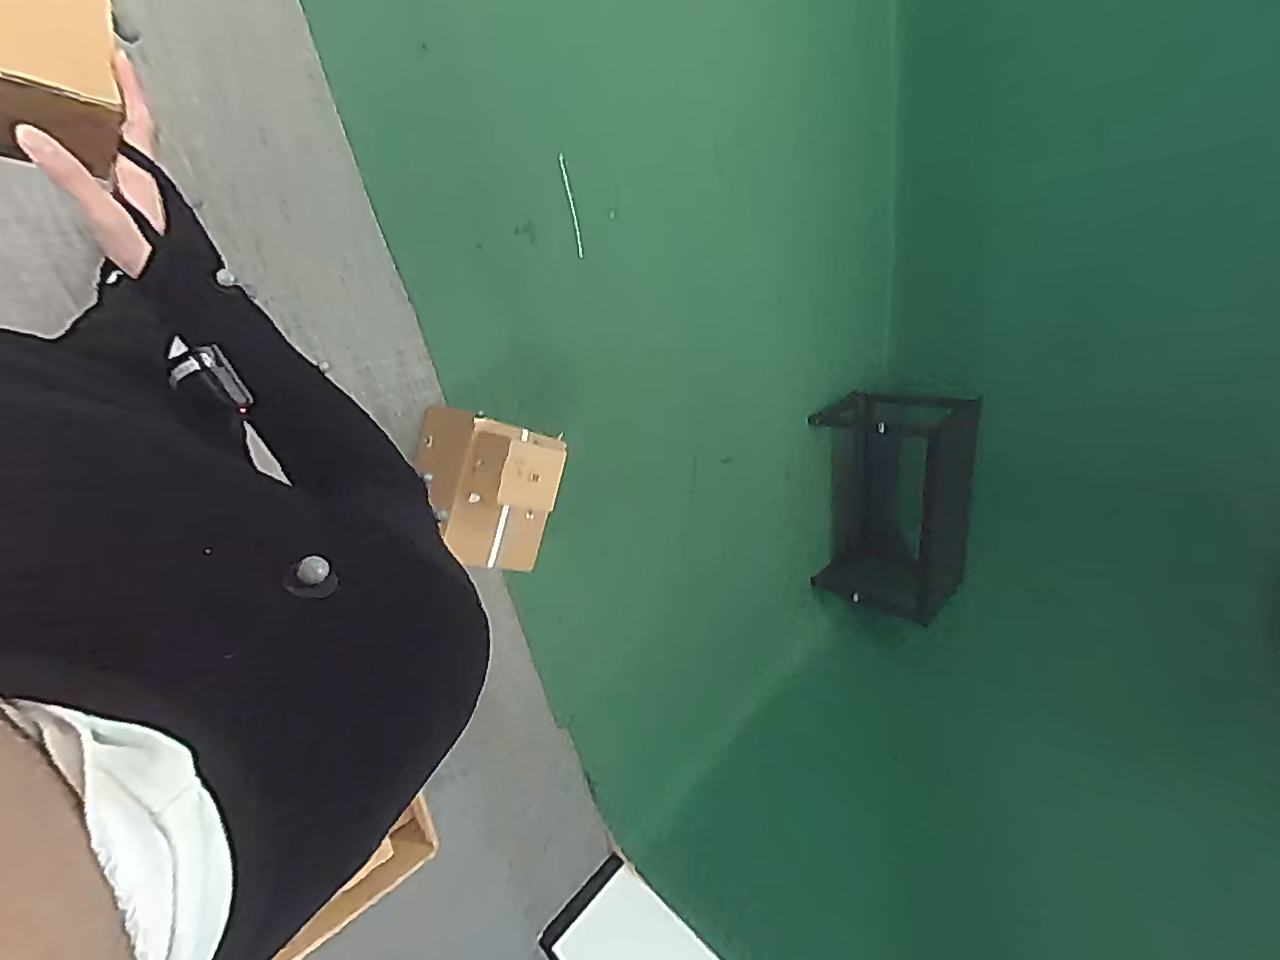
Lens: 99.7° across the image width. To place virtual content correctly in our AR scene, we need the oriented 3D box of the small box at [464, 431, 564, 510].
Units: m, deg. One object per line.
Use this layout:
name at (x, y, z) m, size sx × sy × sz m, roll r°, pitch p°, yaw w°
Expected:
small box at (-0.335, -0.028, 1.435) m, size 0.179 × 0.176 × 0.168 m, roll 13°, pitch 92°, yaw -44°

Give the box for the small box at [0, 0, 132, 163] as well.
small box at (-0.500, -0.371, 0.395) m, size 0.168 × 0.176 × 0.179 m, roll -8°, pitch 101°, yaw -46°
